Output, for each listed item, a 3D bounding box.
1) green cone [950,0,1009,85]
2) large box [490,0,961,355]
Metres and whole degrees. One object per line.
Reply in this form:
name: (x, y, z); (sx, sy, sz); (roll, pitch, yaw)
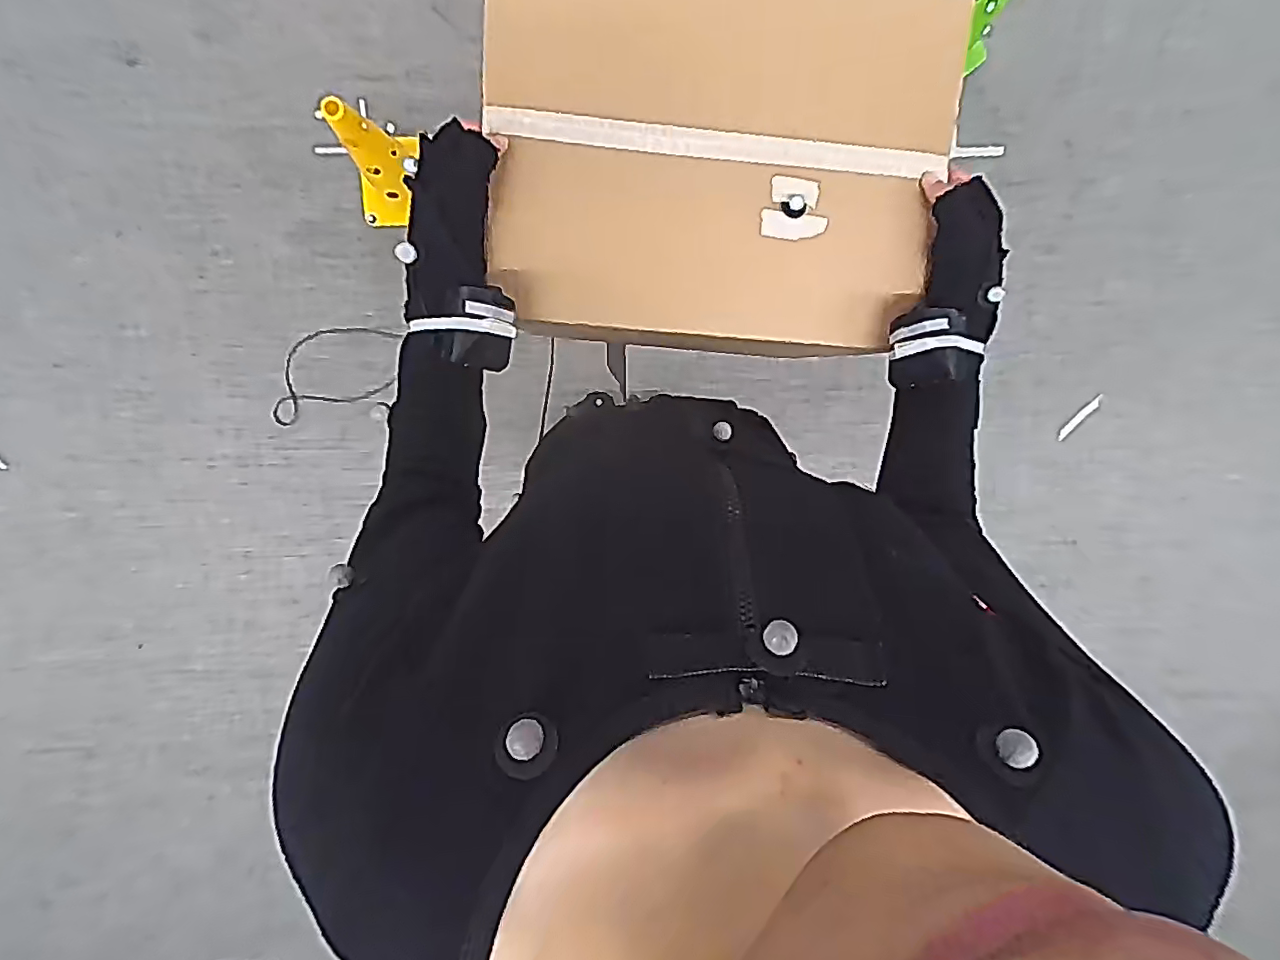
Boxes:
green cone: (0.746, -1.046, 1.166); (0.202, 0.368, 0.200); (-39, 101, 2)
large box: (0.058, -0.317, 0.619); (0.408, 0.320, 0.320); (3, 101, -5)
